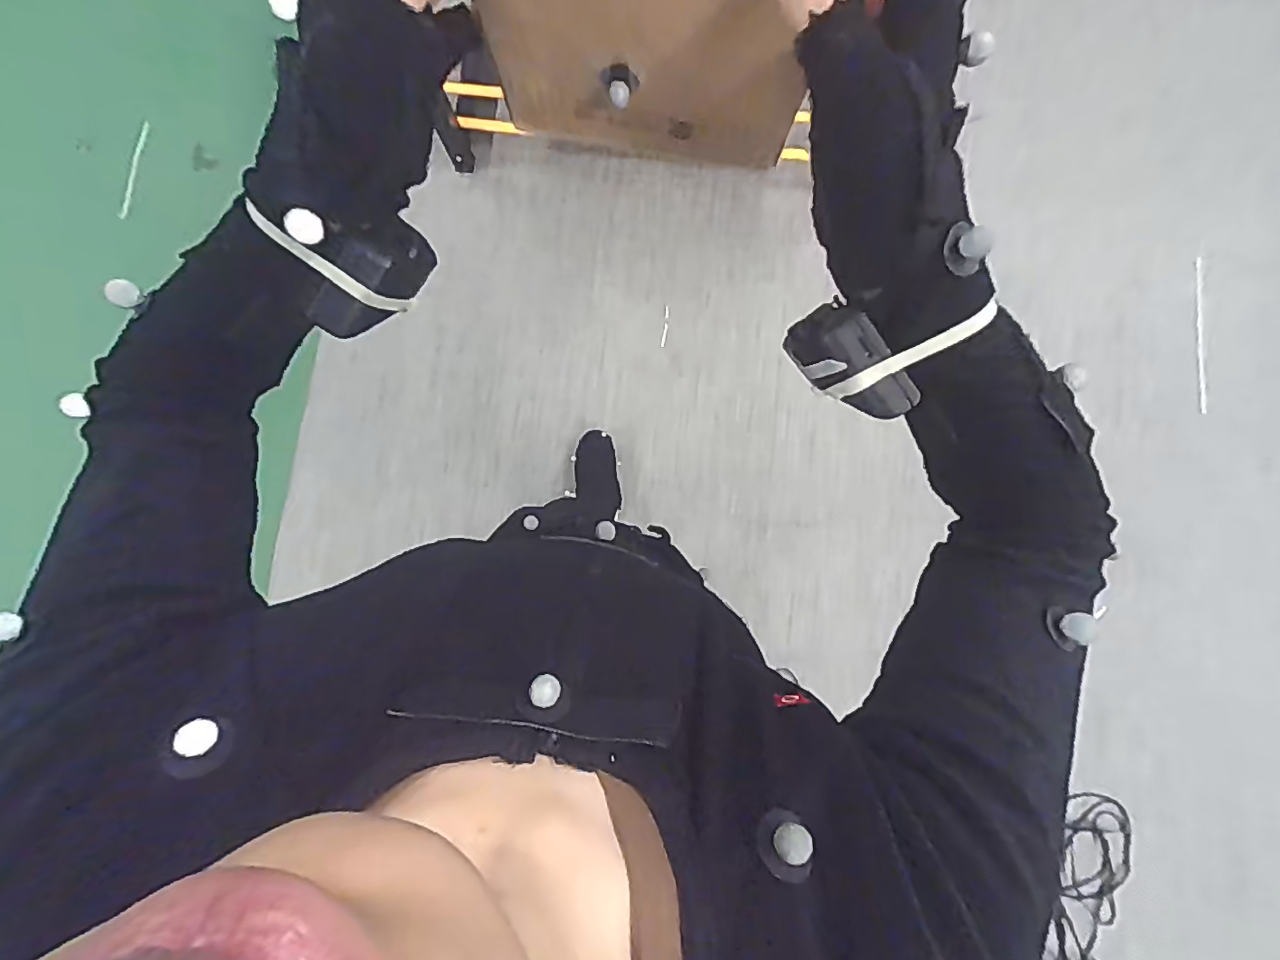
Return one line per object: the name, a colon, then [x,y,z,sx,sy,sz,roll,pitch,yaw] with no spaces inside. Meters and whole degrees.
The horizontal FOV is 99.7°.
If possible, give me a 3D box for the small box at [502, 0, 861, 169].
small box: [0.022,-0.292,0.258,0.168,0.176,0.179,9,90,-1]
